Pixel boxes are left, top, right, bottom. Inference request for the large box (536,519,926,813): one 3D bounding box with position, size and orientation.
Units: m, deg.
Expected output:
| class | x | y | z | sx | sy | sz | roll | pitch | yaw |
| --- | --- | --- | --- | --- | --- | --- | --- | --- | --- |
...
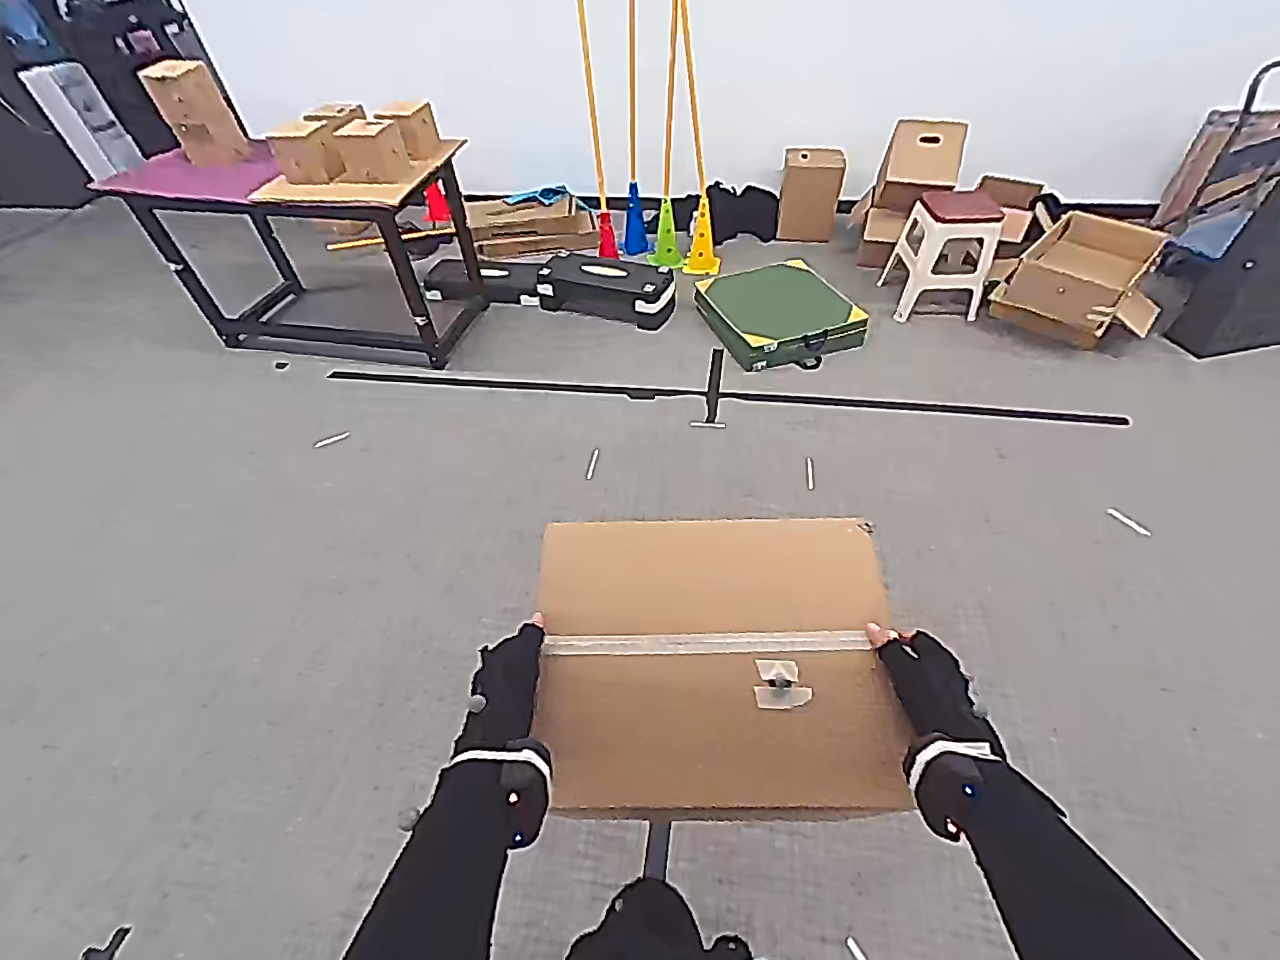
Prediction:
| class | x | y | z | sx | sy | sz | roll | pitch | yaw |
| --- | --- | --- | --- | --- | --- | --- | --- | --- | --- |
| large box | 0.090 | 0.267 | 0.747 | 0.408 | 0.320 | 0.320 | -1 | 57 | 1 |
